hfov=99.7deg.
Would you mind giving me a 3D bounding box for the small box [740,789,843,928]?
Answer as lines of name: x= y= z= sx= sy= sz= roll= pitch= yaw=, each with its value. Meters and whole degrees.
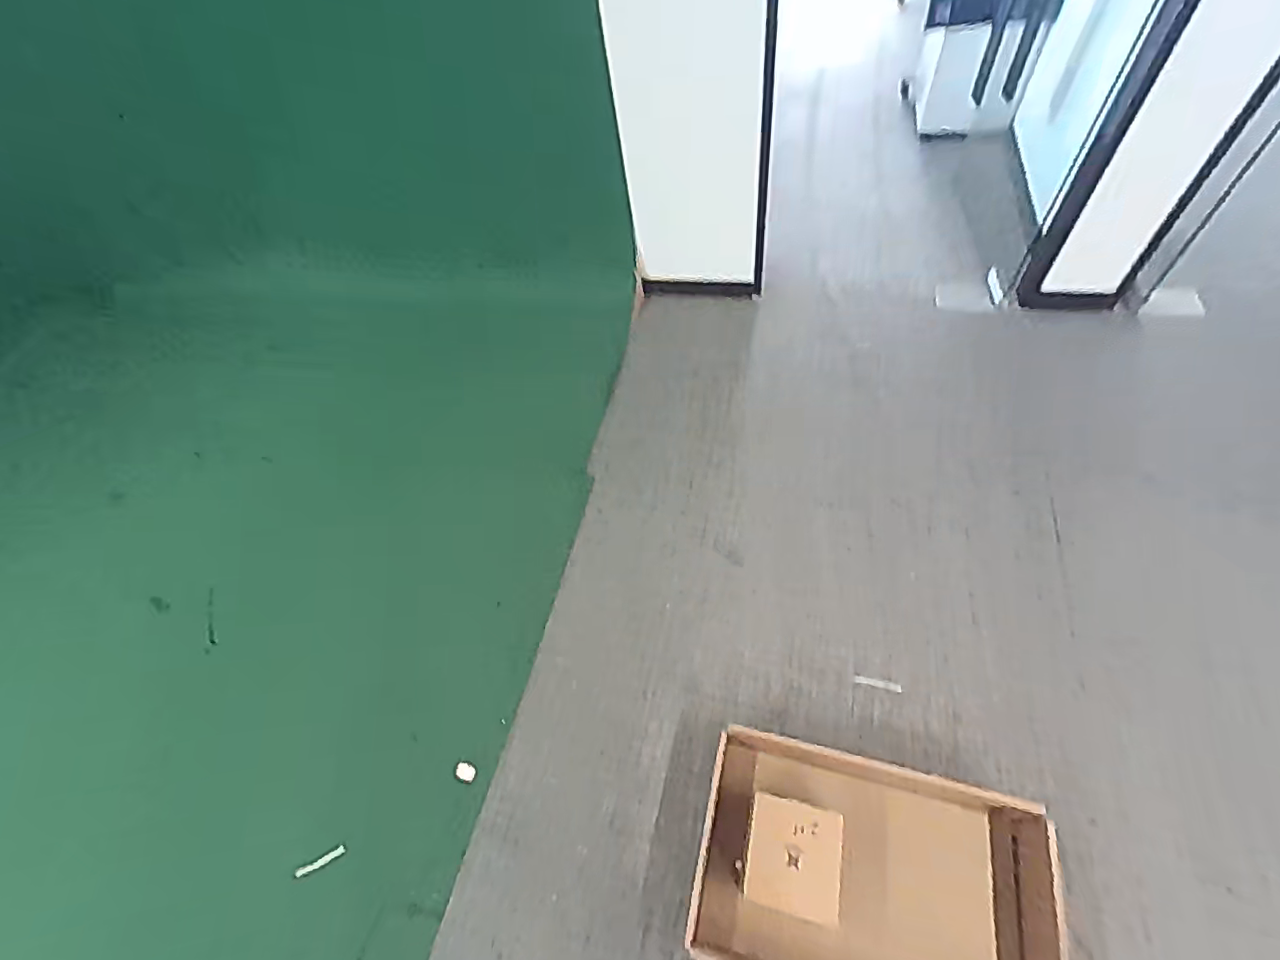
small box: x=0.291 y=0.729 z=1.054 sx=0.168 sy=0.176 sz=0.179 roll=9 pitch=58 yaw=14
